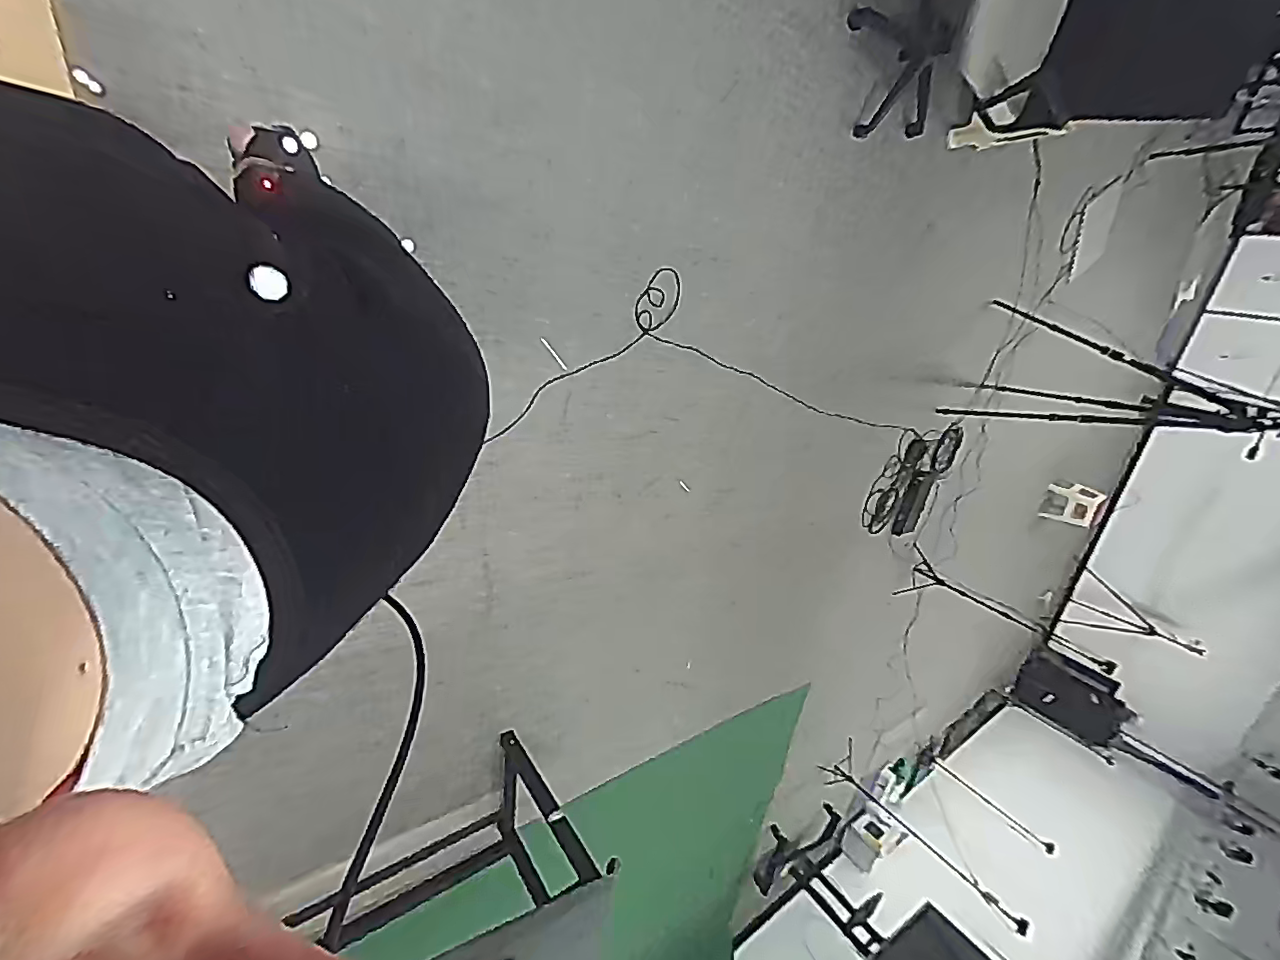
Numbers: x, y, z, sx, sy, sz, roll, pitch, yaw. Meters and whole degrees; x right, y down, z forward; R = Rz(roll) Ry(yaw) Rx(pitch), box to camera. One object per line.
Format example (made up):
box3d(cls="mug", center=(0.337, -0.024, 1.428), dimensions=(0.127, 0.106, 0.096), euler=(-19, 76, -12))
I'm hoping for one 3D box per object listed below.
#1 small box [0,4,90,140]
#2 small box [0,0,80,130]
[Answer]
box3d(cls="small box", center=(-1.039, -0.672, 0.878), dimensions=(0.168, 0.176, 0.179), euler=(-14, 121, -35))
box3d(cls="small box", center=(-0.938, -0.614, 0.764), dimensions=(0.168, 0.176, 0.179), euler=(-12, 119, -35))
